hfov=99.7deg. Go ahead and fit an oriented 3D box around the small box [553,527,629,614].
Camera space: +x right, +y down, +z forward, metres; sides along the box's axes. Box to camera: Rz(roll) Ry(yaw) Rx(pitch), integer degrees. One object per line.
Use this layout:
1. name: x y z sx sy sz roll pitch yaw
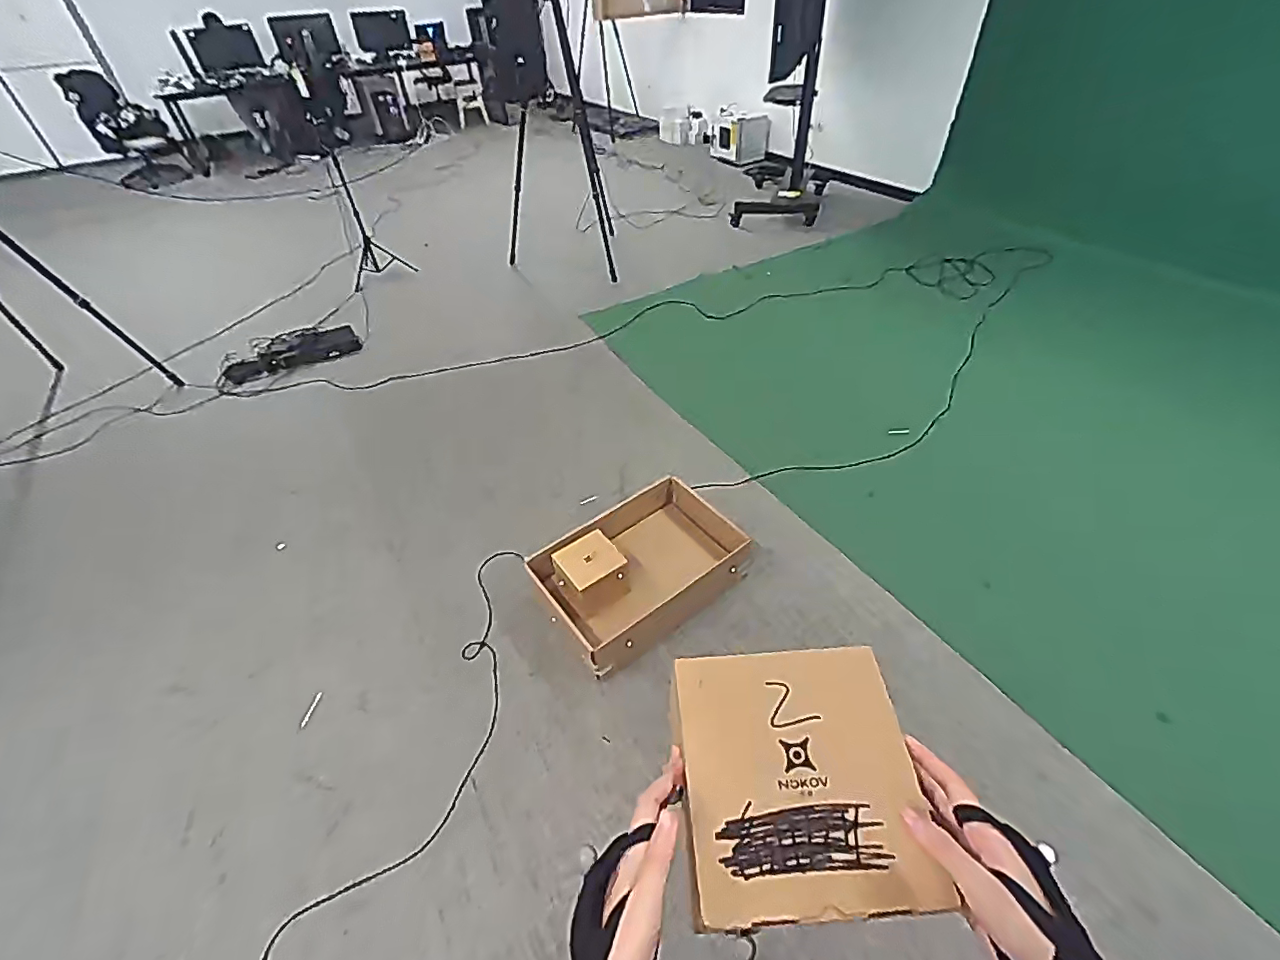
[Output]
1. small box: -0.148 0.286 1.692 0.179 0.176 0.168 -29 51 -25
